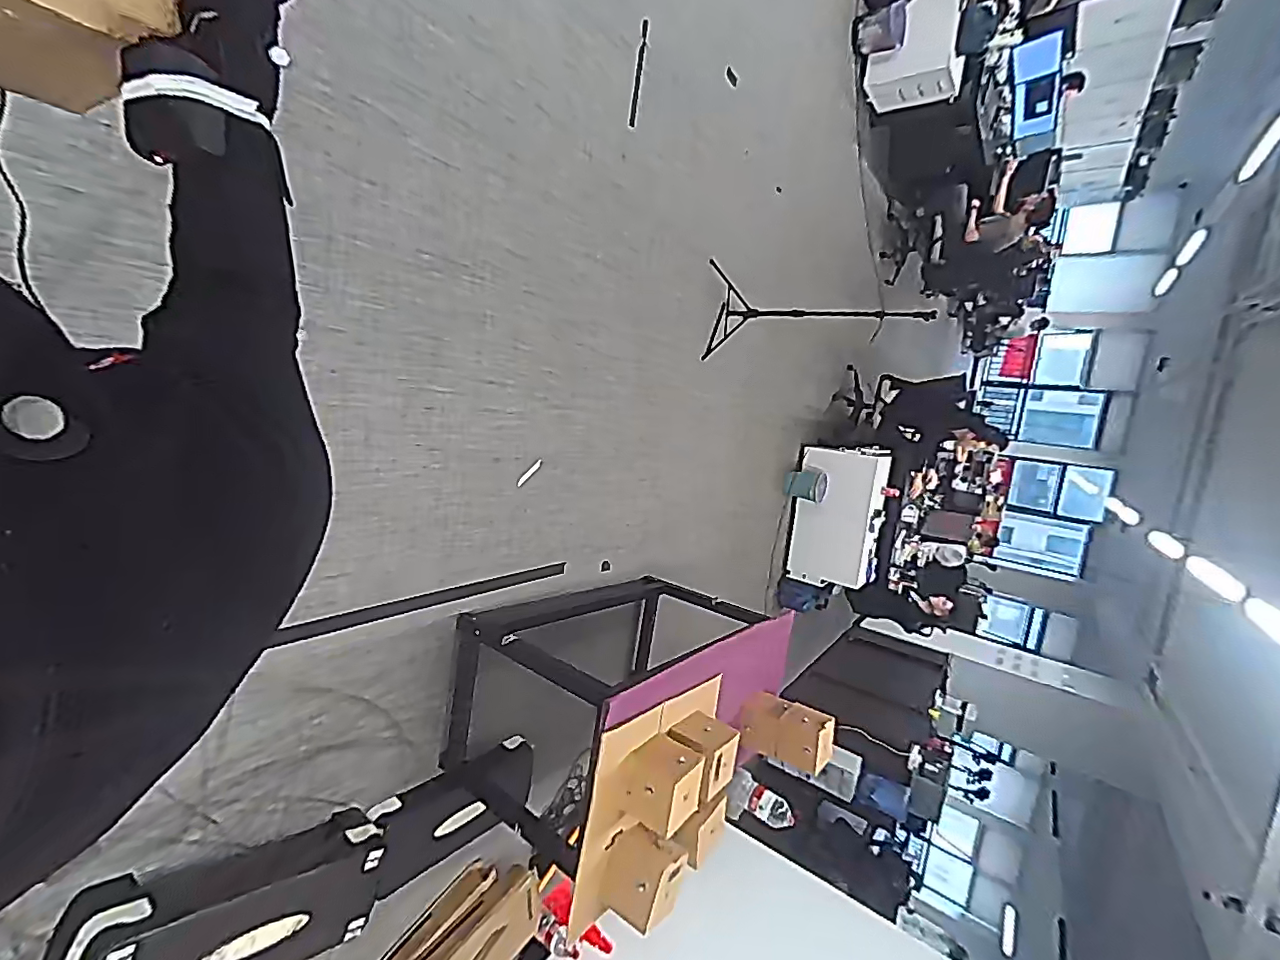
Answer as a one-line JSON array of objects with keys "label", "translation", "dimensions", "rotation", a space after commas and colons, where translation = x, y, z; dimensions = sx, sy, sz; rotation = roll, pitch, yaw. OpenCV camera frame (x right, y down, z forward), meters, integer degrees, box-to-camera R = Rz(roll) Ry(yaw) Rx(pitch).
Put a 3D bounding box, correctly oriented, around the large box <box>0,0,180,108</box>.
[{"label": "large box", "translation": [-0.546, -0.474, 0.285], "dimensions": [0.408, 0.320, 0.320], "rotation": [-5, 110, -55]}]
